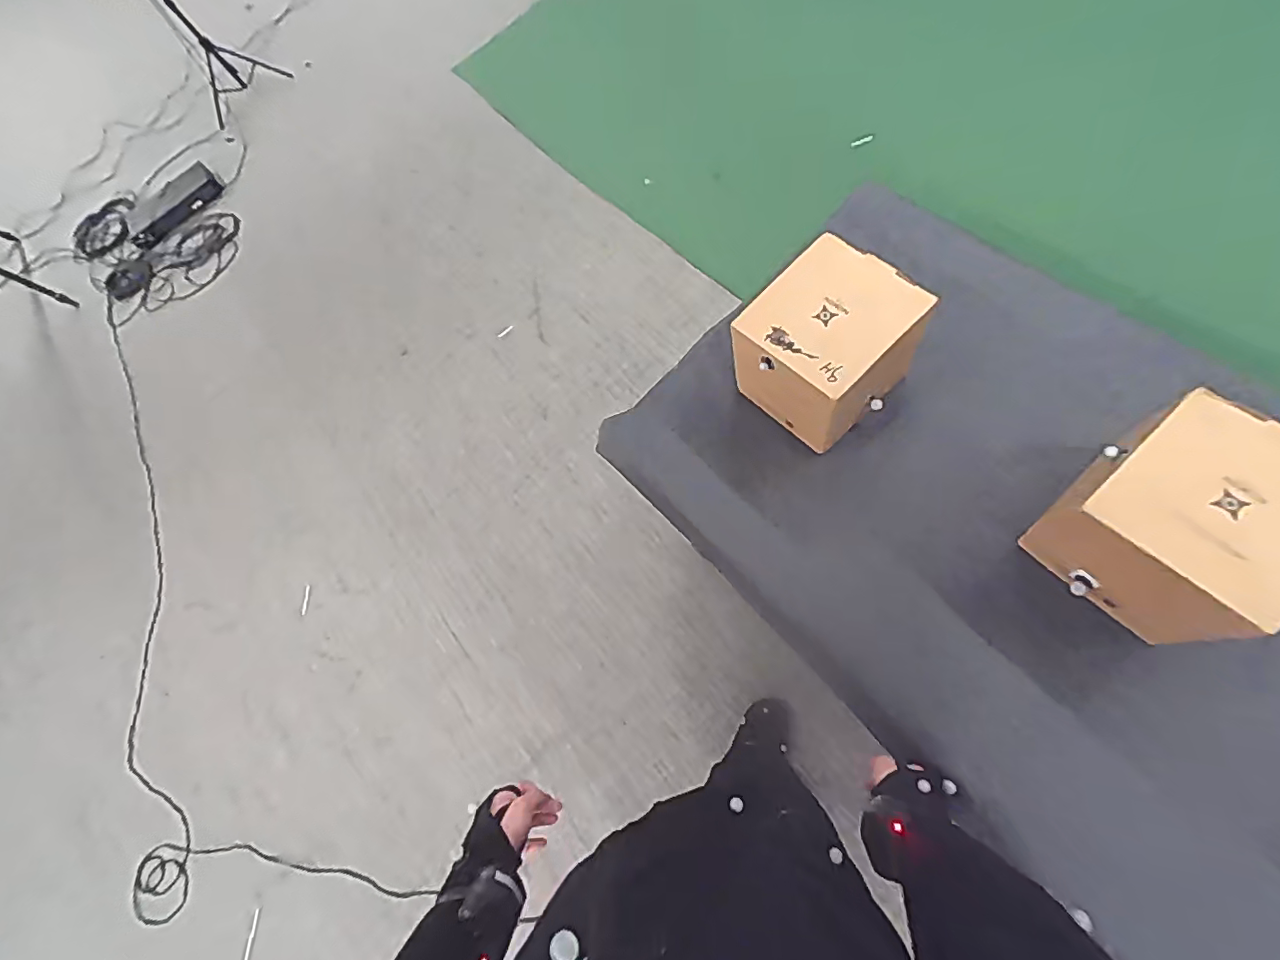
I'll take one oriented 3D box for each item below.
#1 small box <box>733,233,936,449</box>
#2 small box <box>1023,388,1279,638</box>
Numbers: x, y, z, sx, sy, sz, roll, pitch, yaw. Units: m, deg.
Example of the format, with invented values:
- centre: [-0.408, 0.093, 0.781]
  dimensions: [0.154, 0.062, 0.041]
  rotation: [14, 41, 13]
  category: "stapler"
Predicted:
- centre: [0.242, -0.174, 0.714]
  dimensions: [0.179, 0.176, 0.168]
  rotation: [-44, 67, -4]
  category: "small box"
- centre: [0.554, 0.044, 0.566]
  dimensions: [0.179, 0.176, 0.168]
  rotation: [-45, 66, -3]
  category: "small box"
